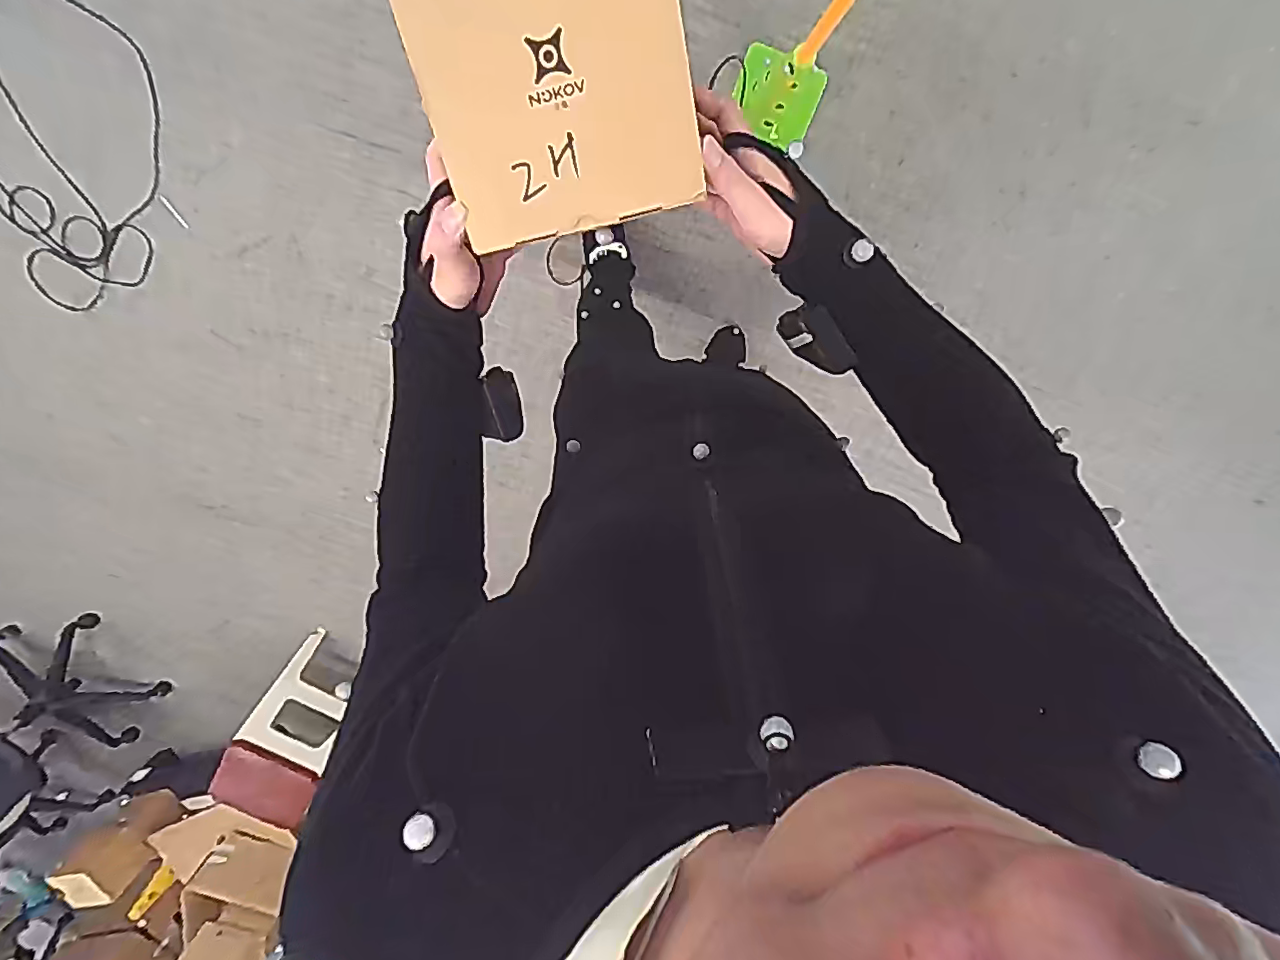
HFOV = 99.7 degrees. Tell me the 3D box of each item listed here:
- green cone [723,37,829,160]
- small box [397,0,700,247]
[{"bbox_3d":[0.309,-0.837,1.131,0.202,0.368,0.200,21,112,-4],"label":"green cone"},{"bbox_3d":[-0.052,-0.288,0.407,0.168,0.176,0.179,-9,117,8],"label":"small box"}]
